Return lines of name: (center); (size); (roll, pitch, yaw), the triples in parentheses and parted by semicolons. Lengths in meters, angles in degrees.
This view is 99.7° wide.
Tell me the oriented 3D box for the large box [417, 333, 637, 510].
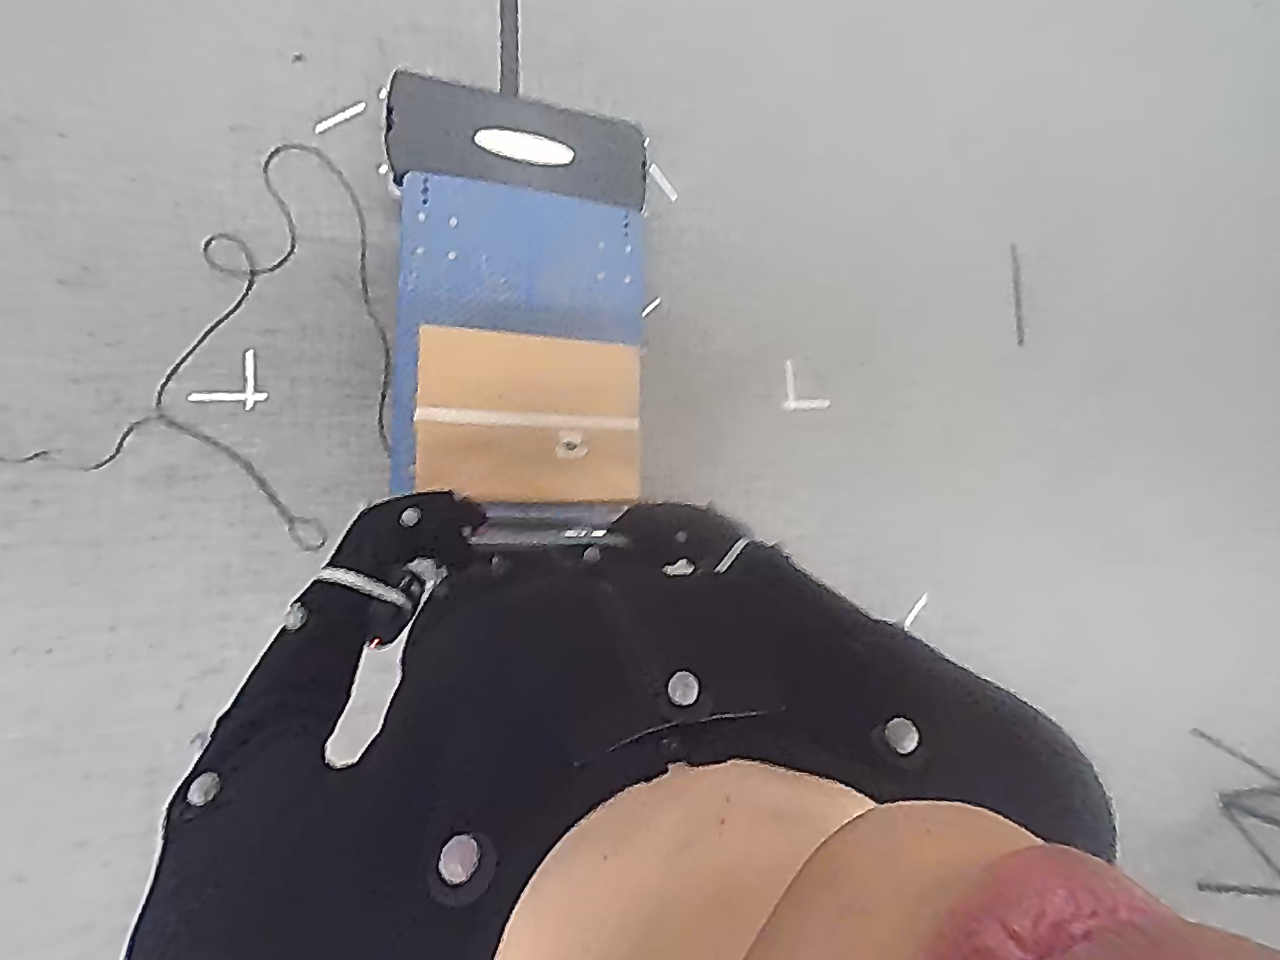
large box: (-0.245, -0.096, 1.137); (0.408, 0.320, 0.320); (1, 87, -18)
